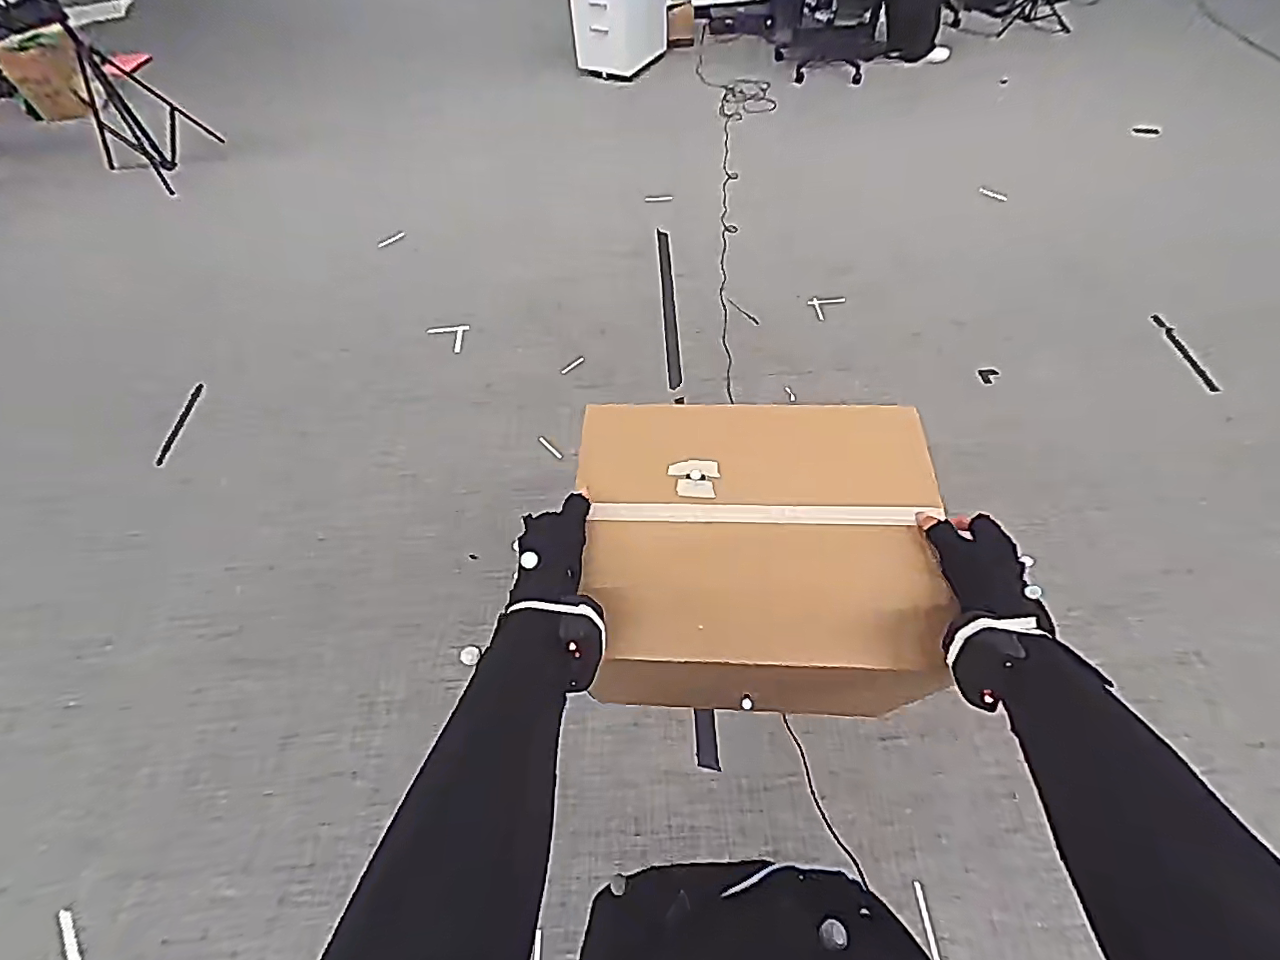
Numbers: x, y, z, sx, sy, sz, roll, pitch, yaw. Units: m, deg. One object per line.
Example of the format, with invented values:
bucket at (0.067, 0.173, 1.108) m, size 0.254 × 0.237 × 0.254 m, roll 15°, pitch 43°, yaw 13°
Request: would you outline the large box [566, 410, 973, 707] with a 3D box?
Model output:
large box at (0.140, 0.122, 0.732) m, size 0.408 × 0.320 × 0.320 m, roll 0°, pitch 59°, yaw 5°
